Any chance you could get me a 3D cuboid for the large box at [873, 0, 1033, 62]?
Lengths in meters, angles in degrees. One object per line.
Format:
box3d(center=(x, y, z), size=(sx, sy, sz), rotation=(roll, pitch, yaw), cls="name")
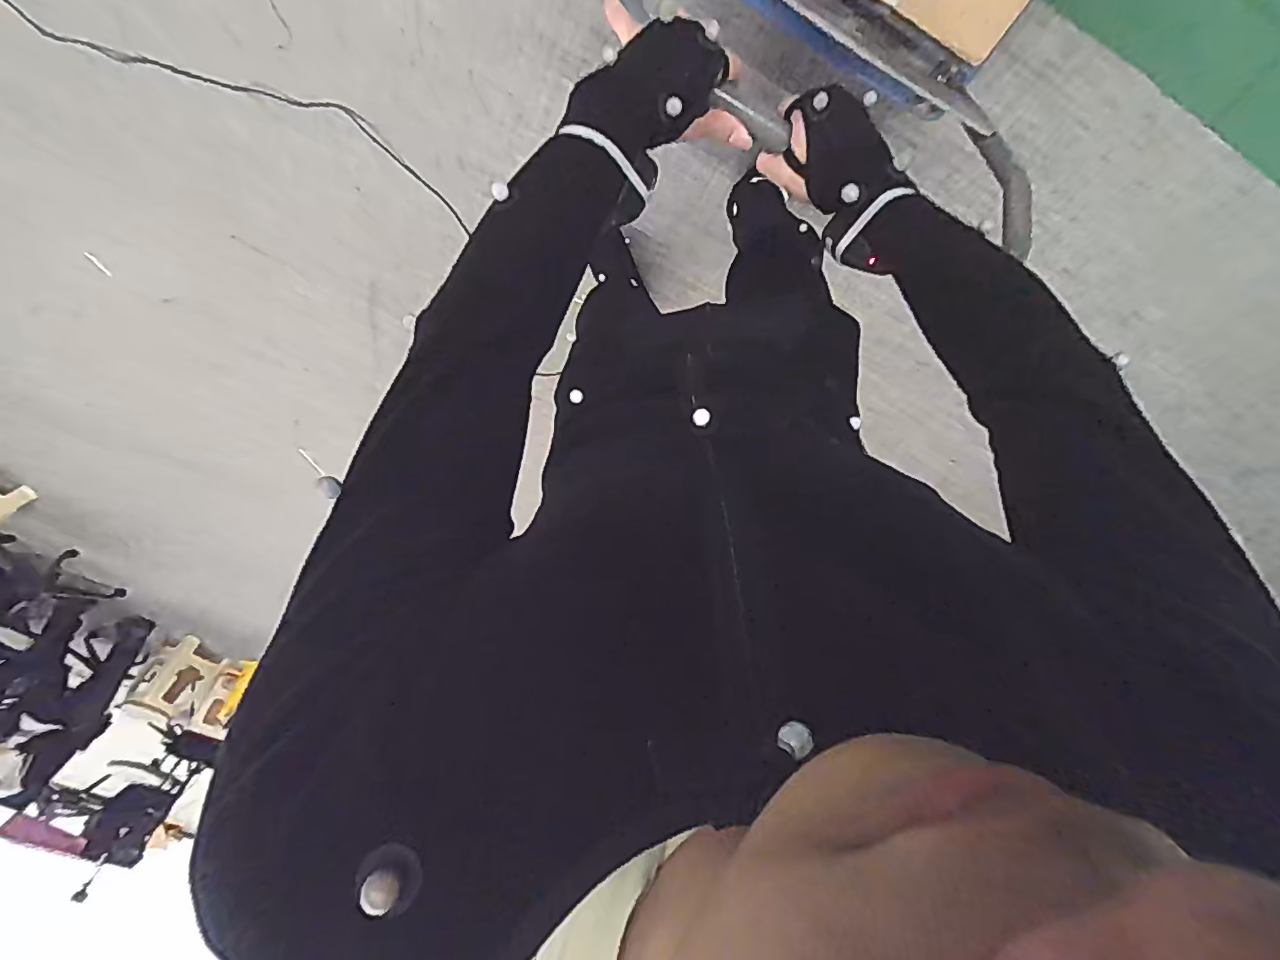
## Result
box3d(center=(0.432, -0.838, 0.668), size=(0.320, 0.320, 0.408), rotation=(25, 134, -12), cls="large box")
